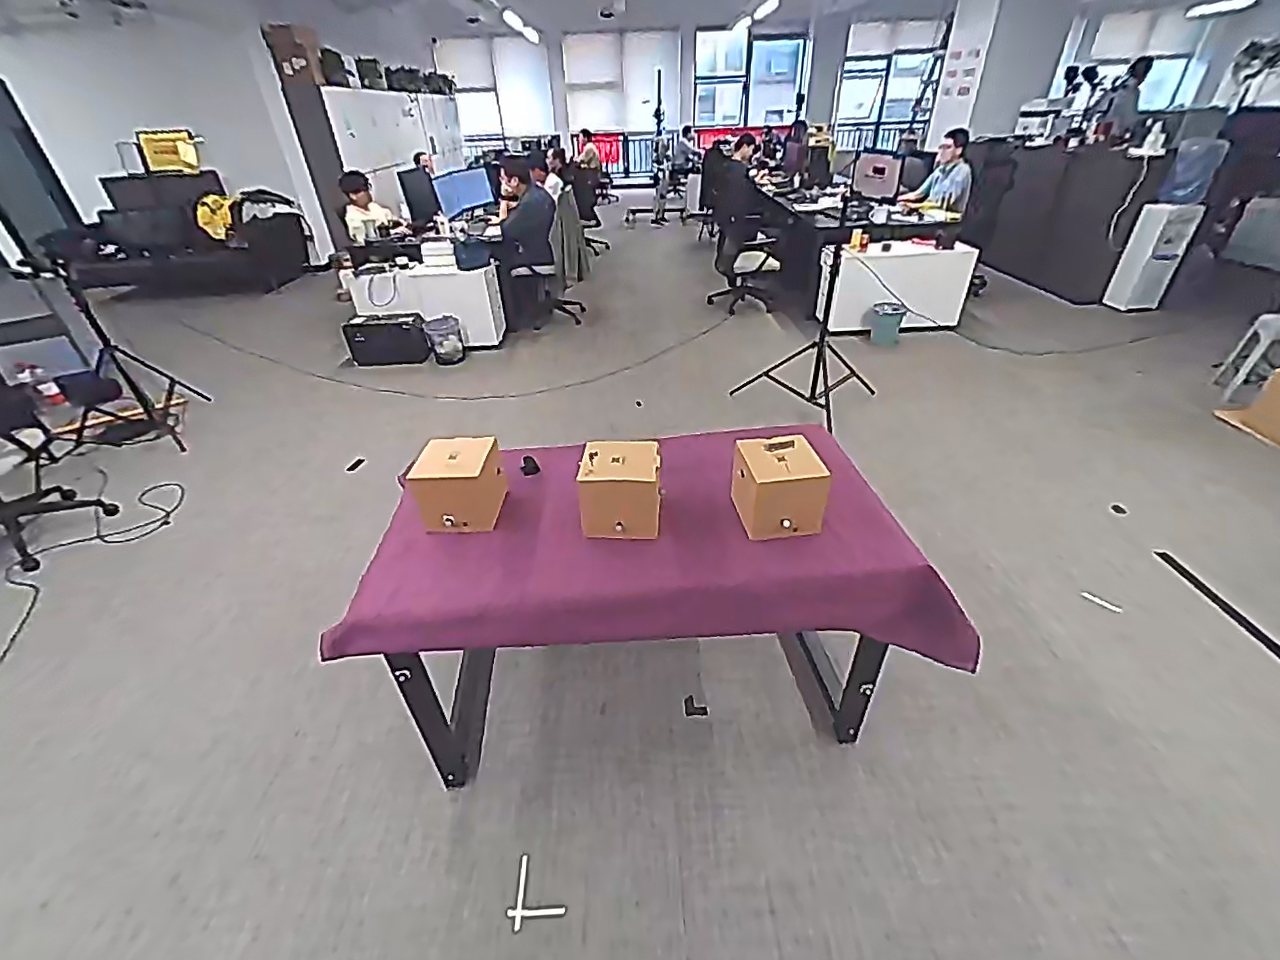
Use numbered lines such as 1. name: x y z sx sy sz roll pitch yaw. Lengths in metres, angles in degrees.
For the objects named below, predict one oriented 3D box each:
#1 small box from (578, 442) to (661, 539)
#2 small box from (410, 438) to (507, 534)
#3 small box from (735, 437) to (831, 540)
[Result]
1. small box: -0.041 0.025 1.277 0.179 0.176 0.168 1 34 4
2. small box: -0.431 0.014 1.318 0.168 0.176 0.179 -2 35 2
3. small box: 0.323 0.018 1.262 0.168 0.176 0.179 -6 35 -4
